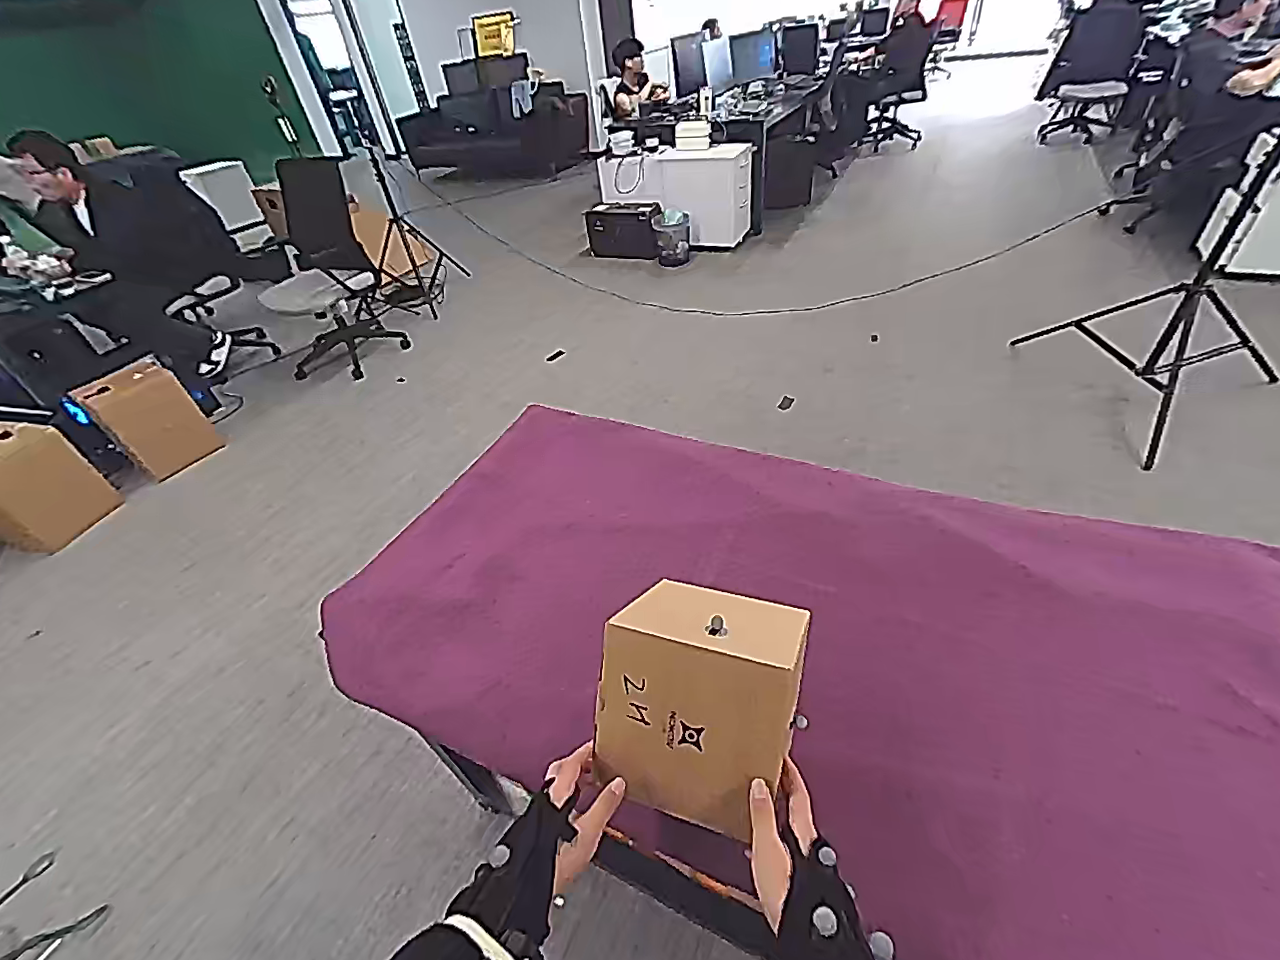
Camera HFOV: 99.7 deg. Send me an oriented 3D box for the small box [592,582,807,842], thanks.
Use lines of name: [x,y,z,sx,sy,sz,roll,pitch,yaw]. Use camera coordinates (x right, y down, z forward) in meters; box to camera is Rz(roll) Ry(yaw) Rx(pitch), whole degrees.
small box: [0.071,0.215,0.559,0.179,0.168,0.176,9,7,21]
